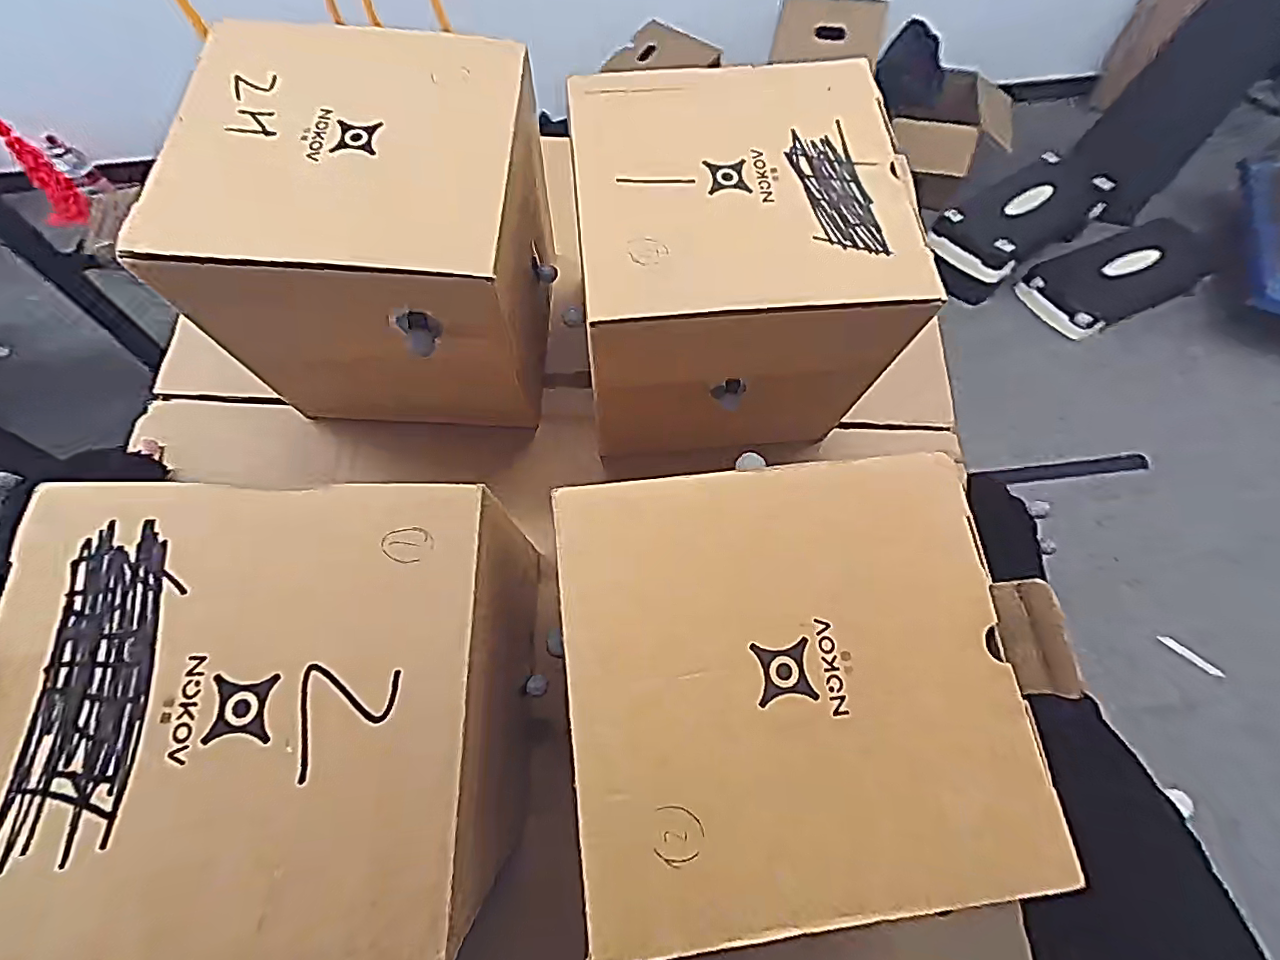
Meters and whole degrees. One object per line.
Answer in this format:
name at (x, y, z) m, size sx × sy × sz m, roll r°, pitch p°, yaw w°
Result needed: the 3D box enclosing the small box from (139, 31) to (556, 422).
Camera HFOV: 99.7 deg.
small box at (-0.156, -0.149, 0.364) m, size 0.179 × 0.176 × 0.168 m, roll 4°, pitch 70°, yaw -1°
